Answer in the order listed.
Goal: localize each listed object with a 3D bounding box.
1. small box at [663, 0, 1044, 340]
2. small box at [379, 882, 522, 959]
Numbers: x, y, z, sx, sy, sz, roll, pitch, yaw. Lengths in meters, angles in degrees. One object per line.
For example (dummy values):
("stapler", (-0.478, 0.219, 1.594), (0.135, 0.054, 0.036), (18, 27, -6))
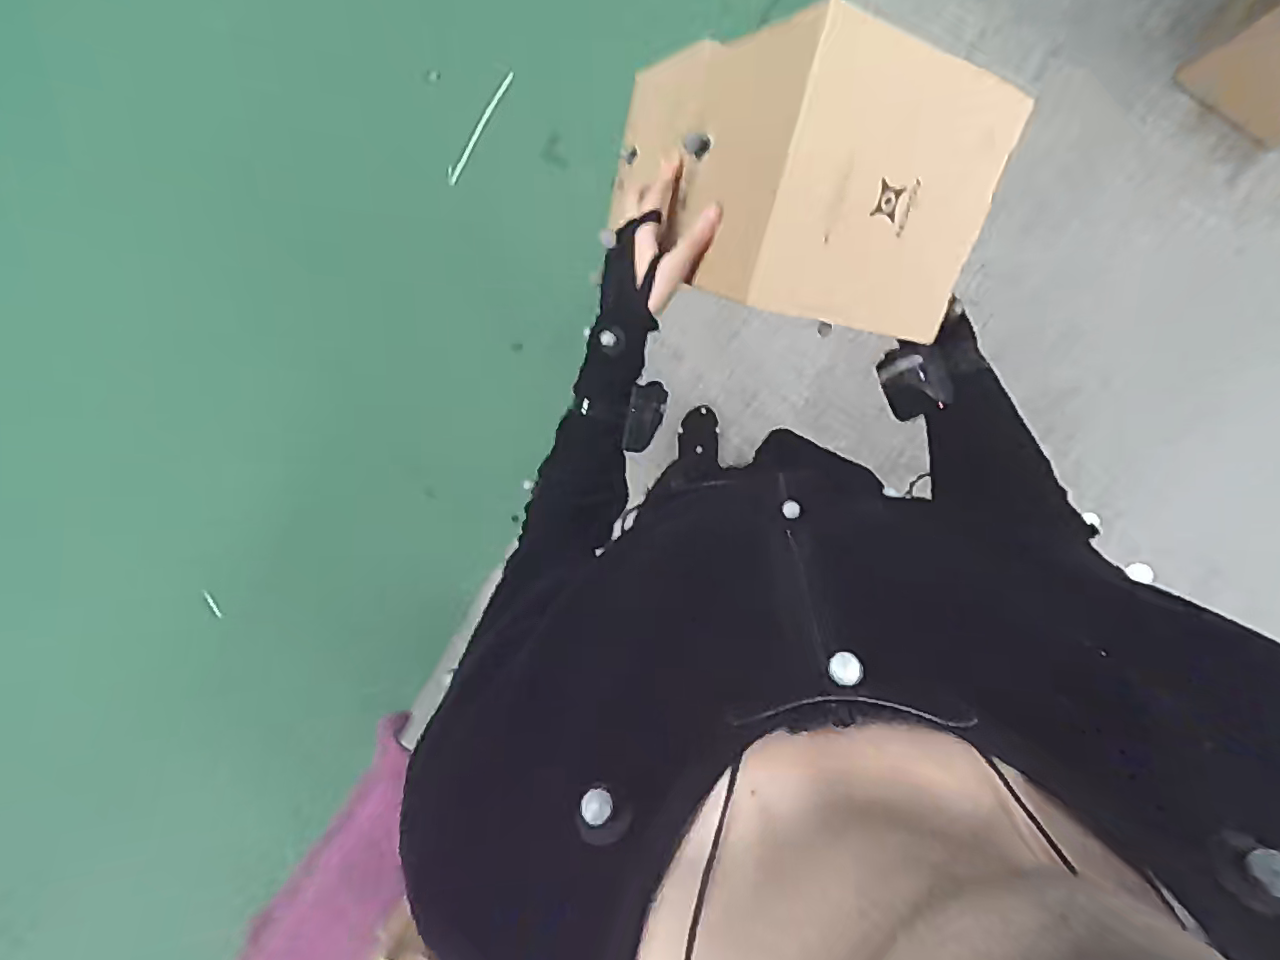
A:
("small box", (0.141, -0.220, 0.415), (0.179, 0.176, 0.168), (5, 113, -23))
("small box", (-0.305, 0.748, 0.795), (0.179, 0.176, 0.168), (33, 99, 1))
